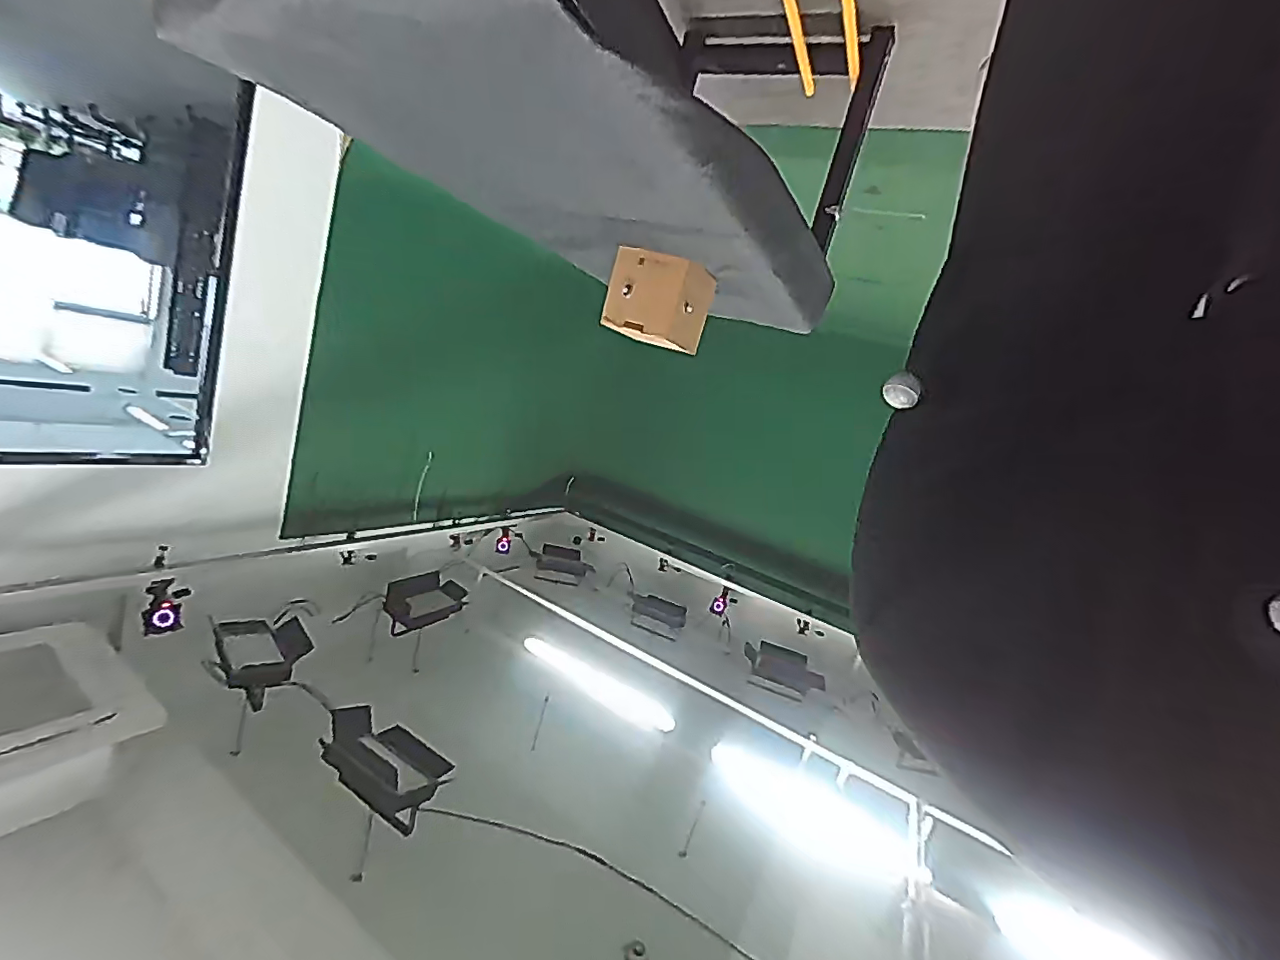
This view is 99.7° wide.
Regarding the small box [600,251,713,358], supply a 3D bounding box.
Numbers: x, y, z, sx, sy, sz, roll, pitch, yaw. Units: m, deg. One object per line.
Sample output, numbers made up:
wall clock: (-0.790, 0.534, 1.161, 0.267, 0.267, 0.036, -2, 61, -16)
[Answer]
small box: (0.040, -0.378, 1.170, 0.168, 0.176, 0.179, 21, -169, 23)
